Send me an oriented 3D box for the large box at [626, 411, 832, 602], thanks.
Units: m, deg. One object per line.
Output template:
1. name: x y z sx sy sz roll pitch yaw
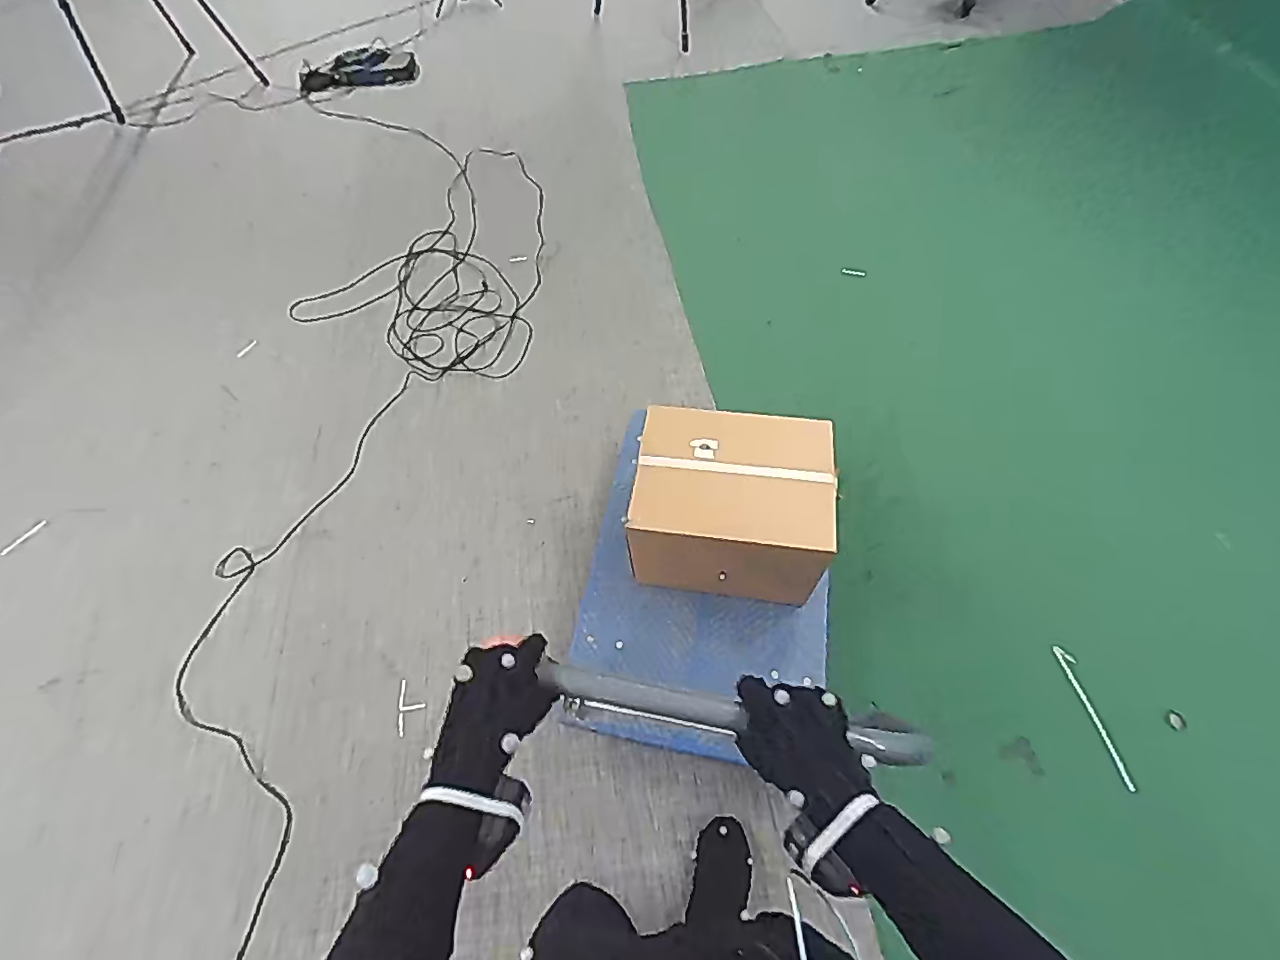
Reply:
1. large box: 0.200 0.068 1.247 0.408 0.320 0.320 6 58 8
